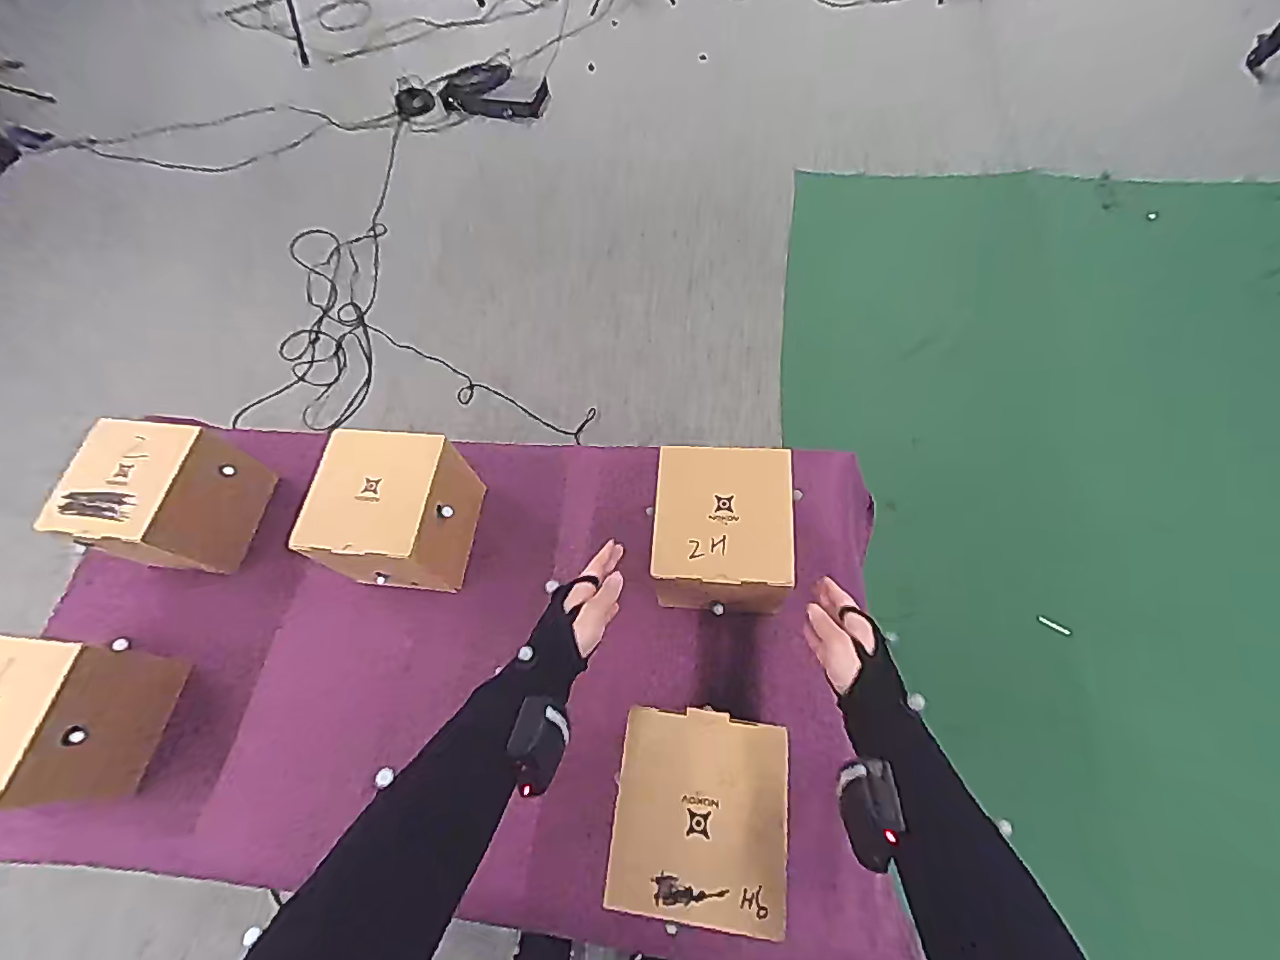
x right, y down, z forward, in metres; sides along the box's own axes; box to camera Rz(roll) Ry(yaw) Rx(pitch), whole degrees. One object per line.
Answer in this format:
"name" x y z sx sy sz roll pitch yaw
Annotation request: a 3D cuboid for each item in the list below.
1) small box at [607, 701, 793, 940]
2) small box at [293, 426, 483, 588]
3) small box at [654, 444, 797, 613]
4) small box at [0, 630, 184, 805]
"small box" 0.068 0.355 0.590 0.168 0.176 0.179 5 62 8
"small box" -0.341 0.044 0.776 0.168 0.176 0.179 4 66 6
"small box" 0.112 0.069 0.724 0.168 0.176 0.179 2 67 8
"small box" -0.742 0.296 0.682 0.168 0.176 0.179 5 64 6
